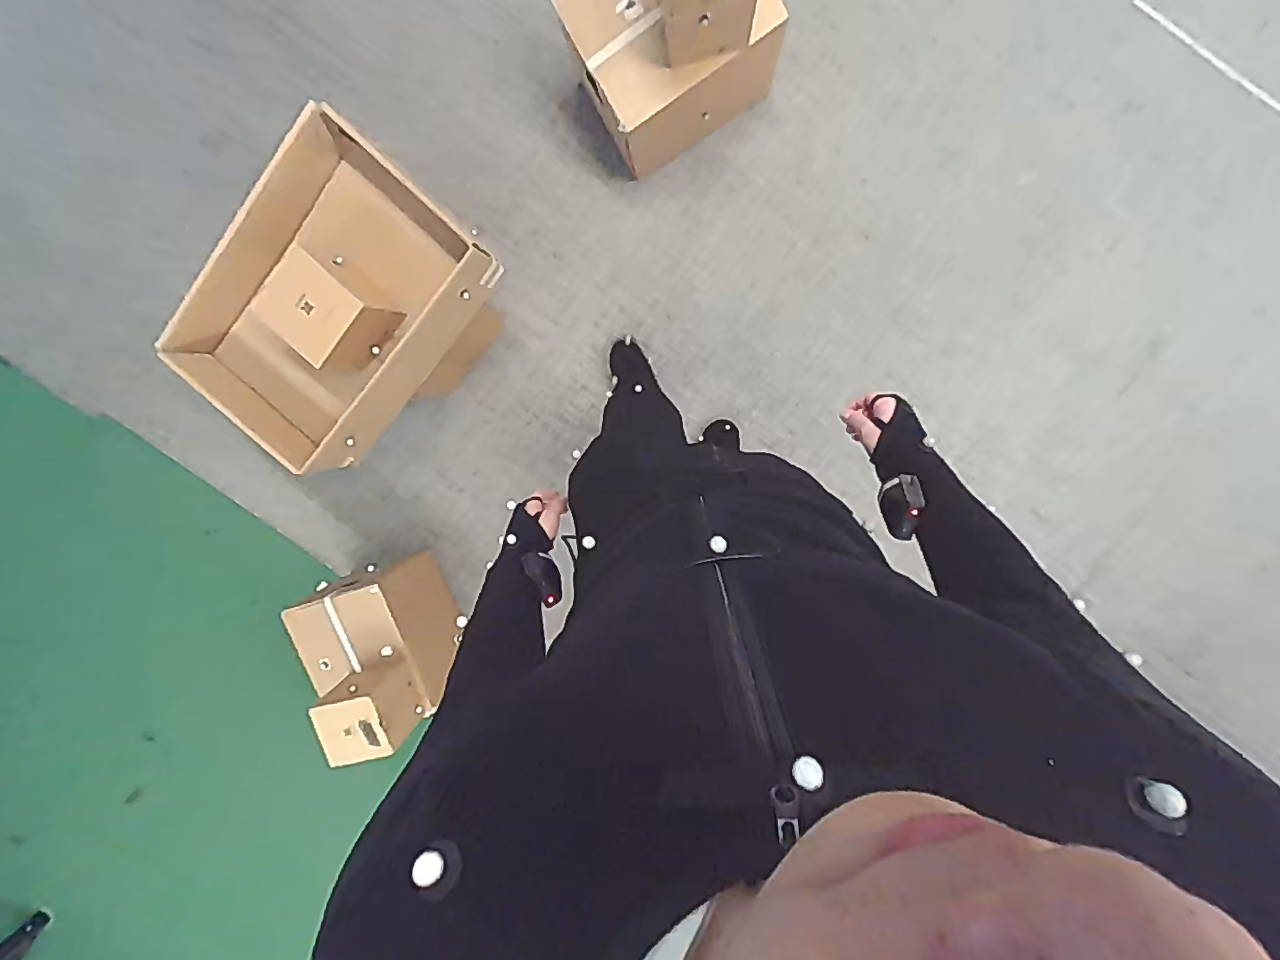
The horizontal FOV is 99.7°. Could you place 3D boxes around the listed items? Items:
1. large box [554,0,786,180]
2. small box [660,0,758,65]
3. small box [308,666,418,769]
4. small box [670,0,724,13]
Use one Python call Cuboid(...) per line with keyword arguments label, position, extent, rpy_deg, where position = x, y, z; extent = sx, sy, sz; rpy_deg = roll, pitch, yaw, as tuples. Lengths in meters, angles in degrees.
Cuboid(label="large box", position=(0.074, -1.009, 1.275), extent=(0.408, 0.320, 0.320), rpy_deg=(-30, 96, 11))
Cuboid(label="small box", position=(0.122, -0.949, 1.032), extent=(0.168, 0.176, 0.179), rpy_deg=(-10, 100, 7))
Cuboid(label="small box", position=(-0.697, 0.602, 1.388), extent=(0.179, 0.176, 0.168), rpy_deg=(-15, 98, 8))
Cuboid(label="small box", position=(0.112, -0.918, 0.869), extent=(0.168, 0.176, 0.179), rpy_deg=(-11, 101, 7))
